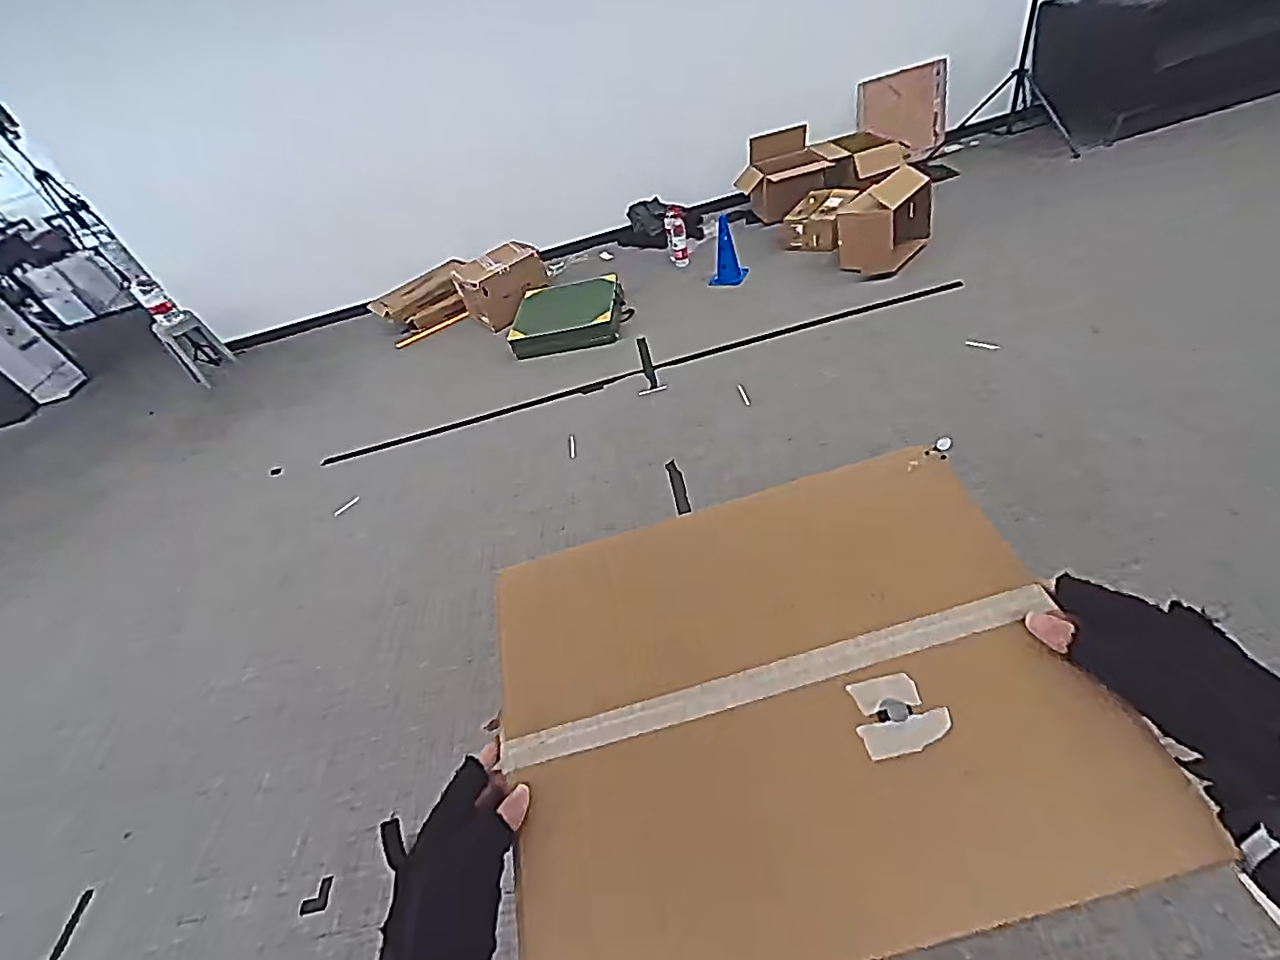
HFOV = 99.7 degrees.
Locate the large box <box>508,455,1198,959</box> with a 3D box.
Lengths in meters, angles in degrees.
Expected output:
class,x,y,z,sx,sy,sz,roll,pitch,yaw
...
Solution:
class,x,y,z,sx,sy,sz,roll,pitch,yaw
large box,0.128,0.238,0.519,0.408,0.320,0.320,-17,53,0
